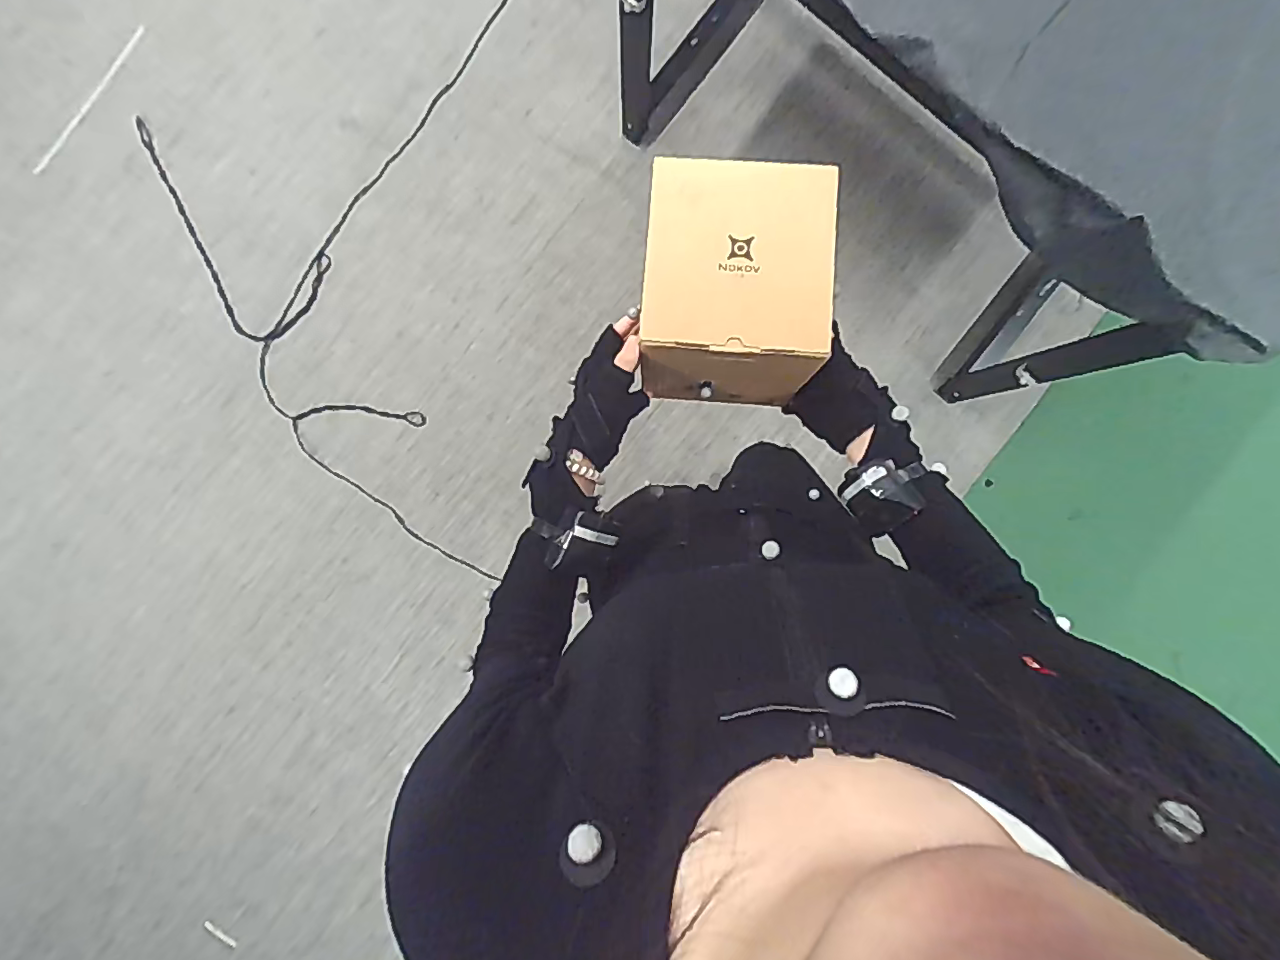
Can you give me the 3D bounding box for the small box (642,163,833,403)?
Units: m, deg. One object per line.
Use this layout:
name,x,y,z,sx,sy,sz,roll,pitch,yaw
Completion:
small box,0.090,-0.191,0.565,0.168,0.176,0.179,4,85,2
